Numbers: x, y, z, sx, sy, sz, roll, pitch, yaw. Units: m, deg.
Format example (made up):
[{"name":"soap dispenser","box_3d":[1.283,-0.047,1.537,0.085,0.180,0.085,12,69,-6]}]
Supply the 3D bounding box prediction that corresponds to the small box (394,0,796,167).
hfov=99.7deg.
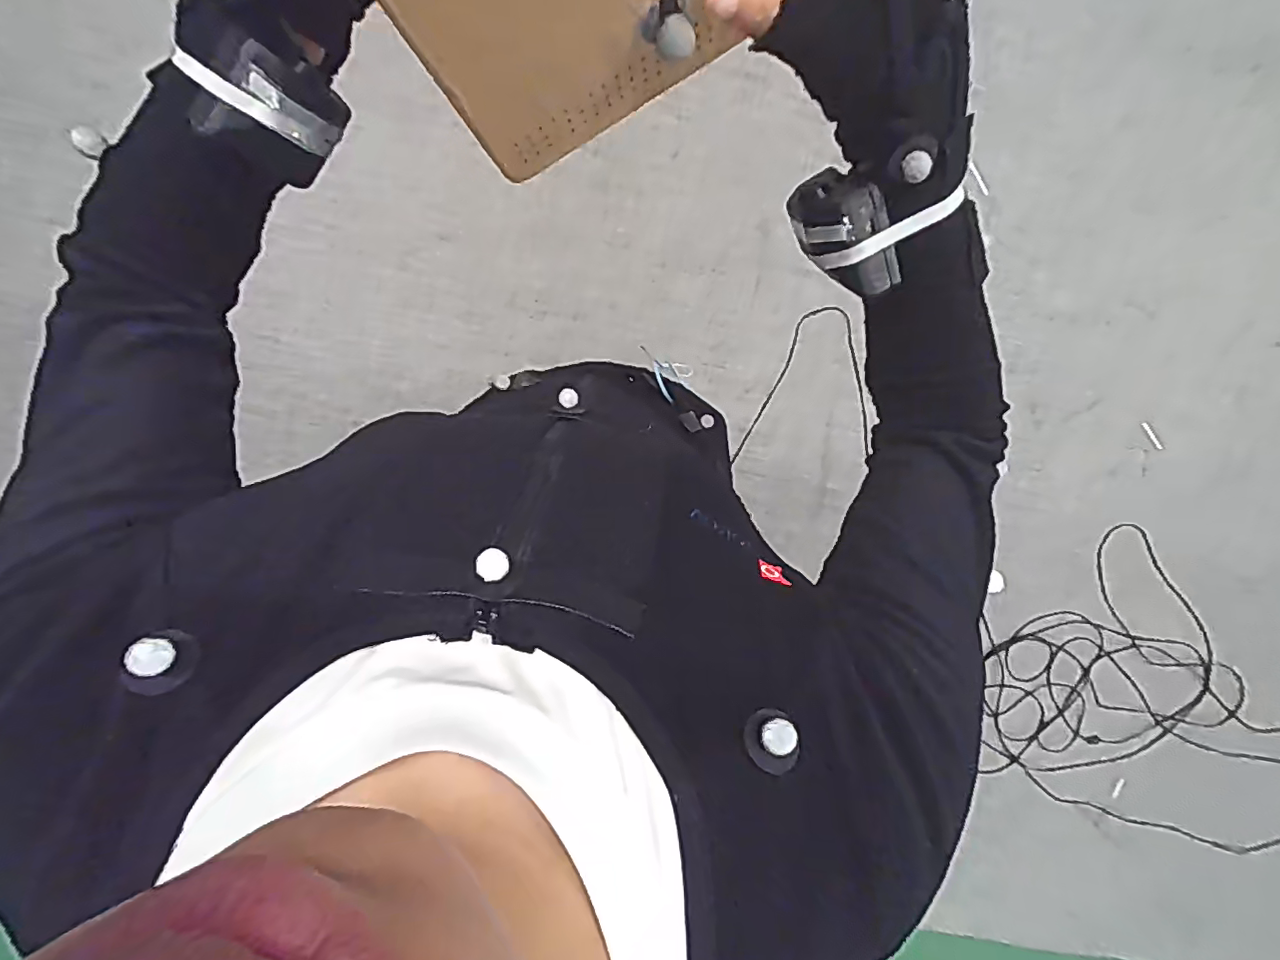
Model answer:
[{"name":"small box","box_3d":[-0.029,-0.249,0.168,0.179,0.176,0.168,-28,89,7]}]
